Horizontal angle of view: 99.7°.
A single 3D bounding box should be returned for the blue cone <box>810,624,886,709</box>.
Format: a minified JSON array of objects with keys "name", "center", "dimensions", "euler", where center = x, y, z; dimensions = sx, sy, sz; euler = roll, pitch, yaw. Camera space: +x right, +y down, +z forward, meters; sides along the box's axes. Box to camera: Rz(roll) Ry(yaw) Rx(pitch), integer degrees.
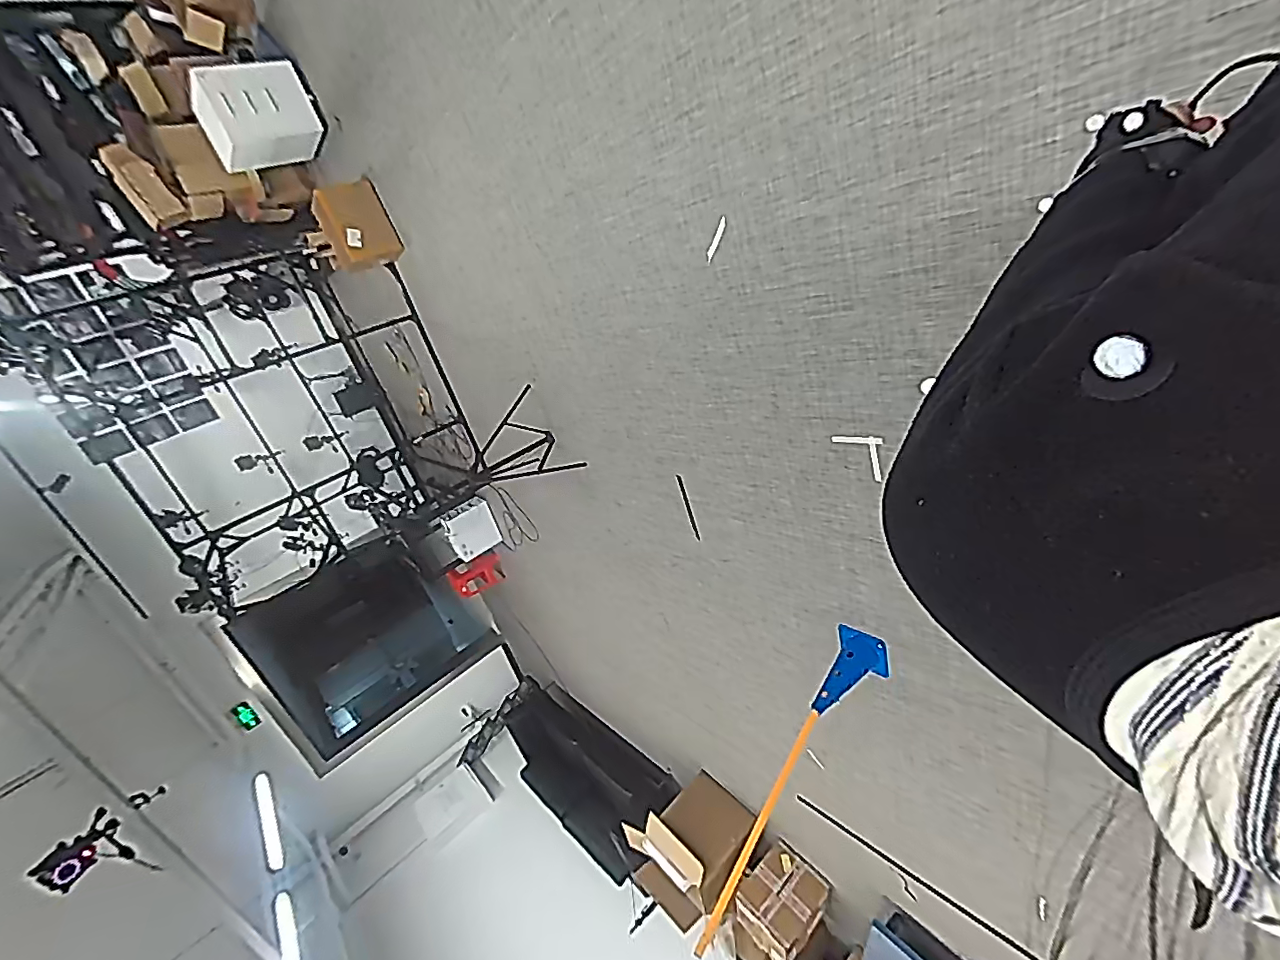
[{"name":"blue cone","center":[0.774,0.751,2.085],"dimensions":[0.193,0.380,0.192],"euler":[16,130,47]}]
